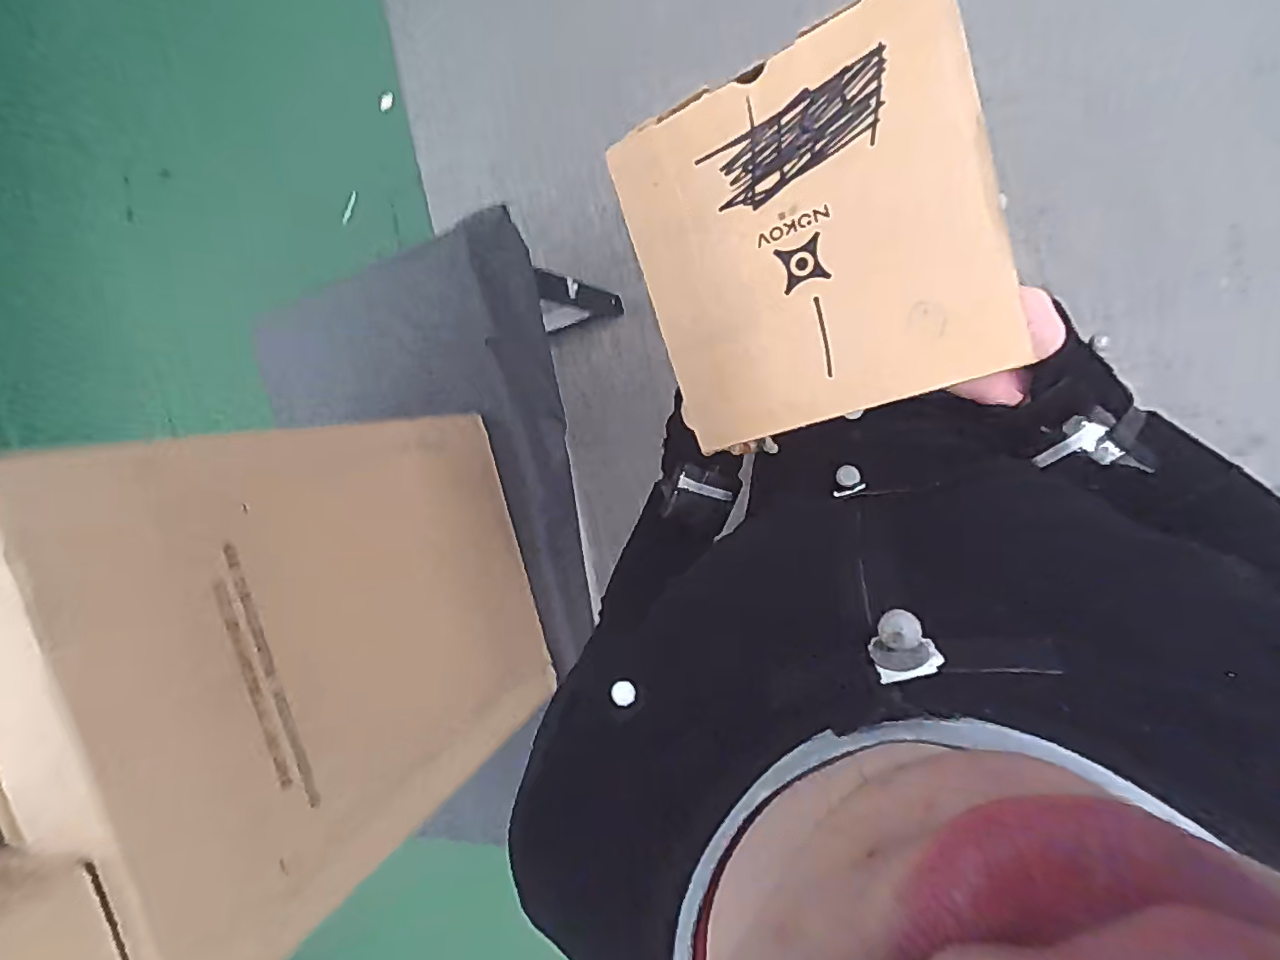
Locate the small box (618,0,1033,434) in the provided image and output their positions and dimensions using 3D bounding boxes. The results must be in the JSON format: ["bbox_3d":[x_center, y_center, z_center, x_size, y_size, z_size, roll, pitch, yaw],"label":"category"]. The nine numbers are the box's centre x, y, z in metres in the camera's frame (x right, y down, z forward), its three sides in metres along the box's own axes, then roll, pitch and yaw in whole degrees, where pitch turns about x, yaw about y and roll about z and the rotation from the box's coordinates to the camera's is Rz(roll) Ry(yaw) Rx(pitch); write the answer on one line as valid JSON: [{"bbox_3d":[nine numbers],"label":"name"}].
[{"bbox_3d":[0.113,-0.142,0.338,0.168,0.176,0.179,-14,99,27],"label":"small box"}]
